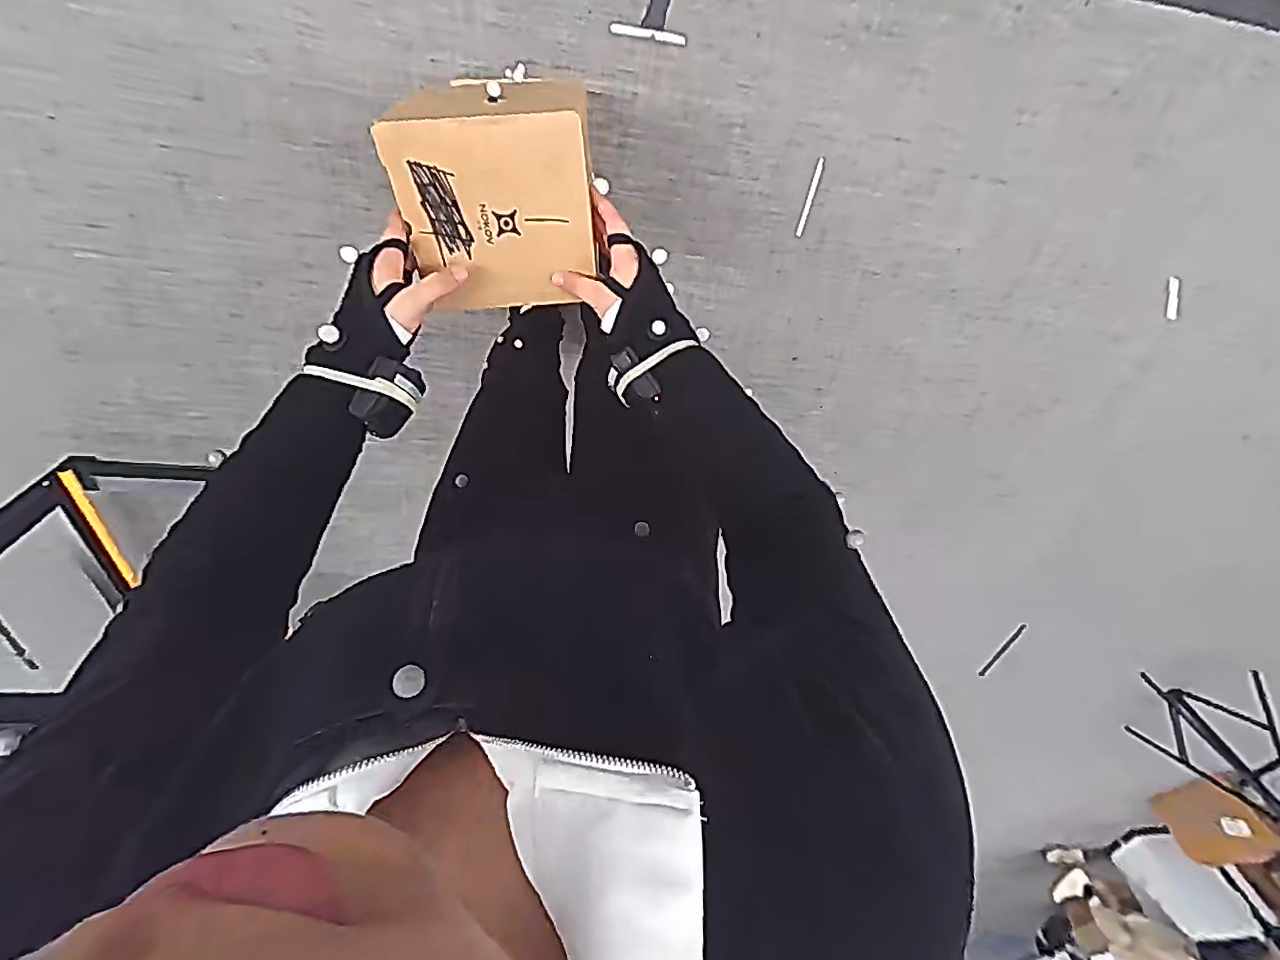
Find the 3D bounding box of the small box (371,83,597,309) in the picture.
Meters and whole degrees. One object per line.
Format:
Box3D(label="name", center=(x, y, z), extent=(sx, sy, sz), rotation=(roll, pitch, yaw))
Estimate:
Box3D(label="small box", center=(-0.138, -0.293, 0.556), extent=(0.179, 0.176, 0.168), rotation=(-4, 134, -1))
